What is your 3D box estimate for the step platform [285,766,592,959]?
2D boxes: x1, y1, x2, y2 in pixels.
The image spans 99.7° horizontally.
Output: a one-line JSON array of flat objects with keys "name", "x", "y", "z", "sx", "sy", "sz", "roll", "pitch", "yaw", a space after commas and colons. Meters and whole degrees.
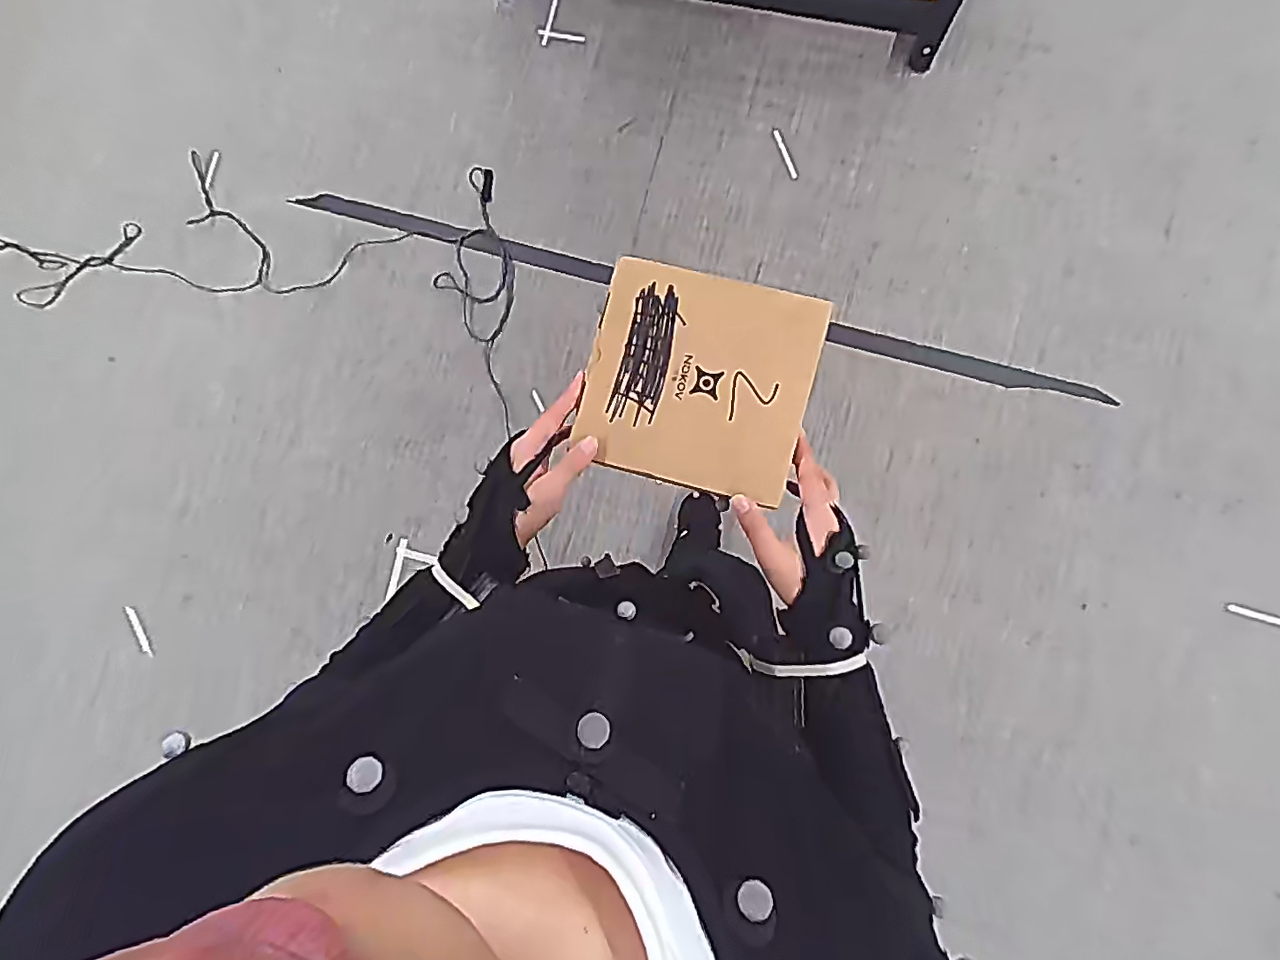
[{"name": "step platform", "x": -0.473, "y": 0.963, "z": 1.290, "sx": 0.684, "sy": 0.204, "sz": 0.286, "roll": 16, "pitch": 89, "yaw": 6}]
